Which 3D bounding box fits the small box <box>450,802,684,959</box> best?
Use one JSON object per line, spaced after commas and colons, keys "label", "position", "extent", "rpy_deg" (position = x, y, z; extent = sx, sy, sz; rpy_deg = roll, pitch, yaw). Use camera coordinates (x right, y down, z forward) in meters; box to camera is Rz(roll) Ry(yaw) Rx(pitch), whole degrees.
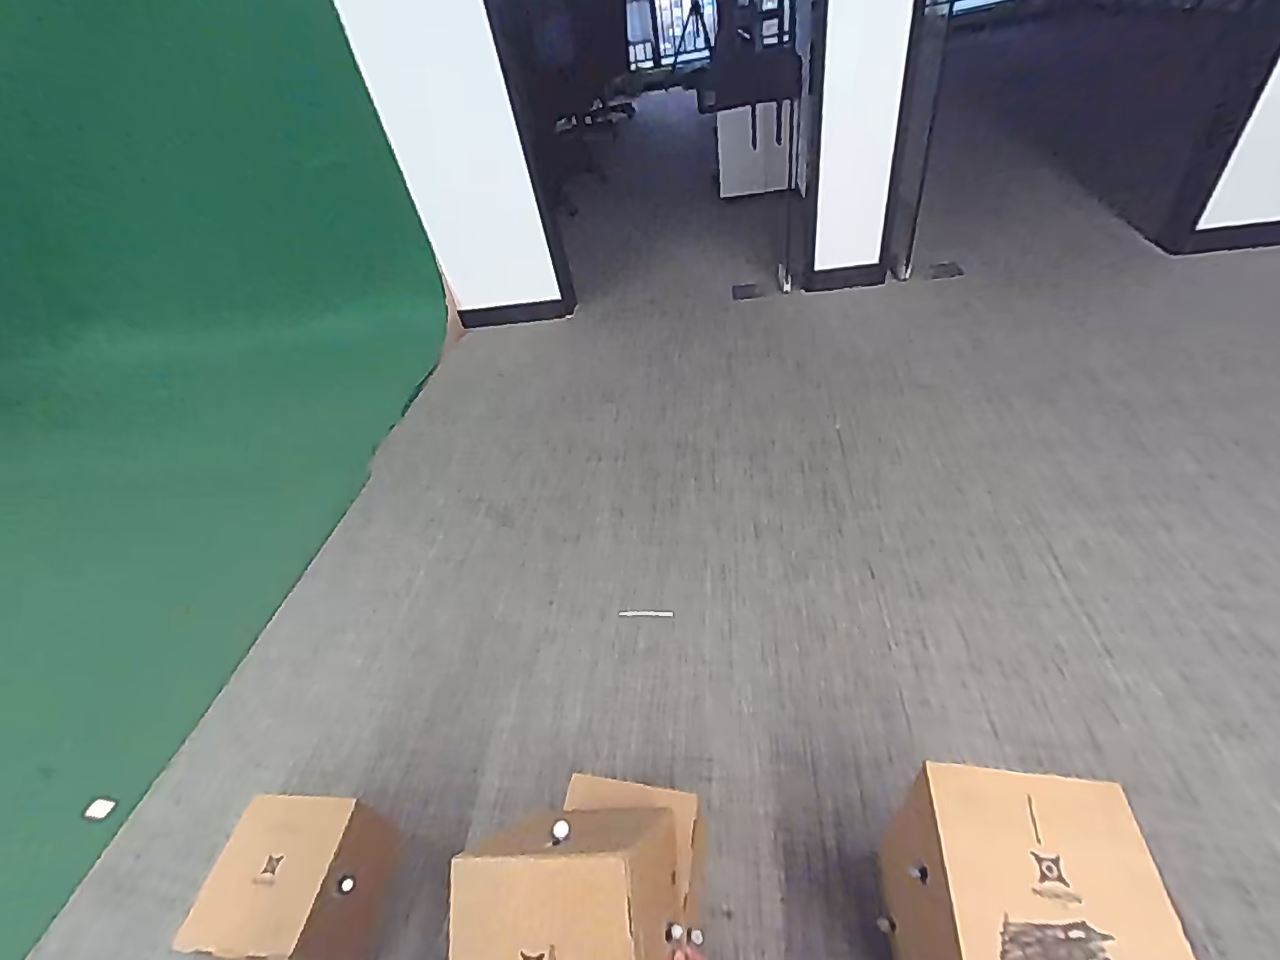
{"label": "small box", "position": [-0.066, 0.433, 0.538], "extent": [0.179, 0.176, 0.168], "rpy_deg": [-12, 68, 13]}

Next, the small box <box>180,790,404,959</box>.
{"label": "small box", "position": [-0.466, 0.564, 0.762], "extent": [0.168, 0.176, 0.179], "rpy_deg": [-3, 41, 9]}
